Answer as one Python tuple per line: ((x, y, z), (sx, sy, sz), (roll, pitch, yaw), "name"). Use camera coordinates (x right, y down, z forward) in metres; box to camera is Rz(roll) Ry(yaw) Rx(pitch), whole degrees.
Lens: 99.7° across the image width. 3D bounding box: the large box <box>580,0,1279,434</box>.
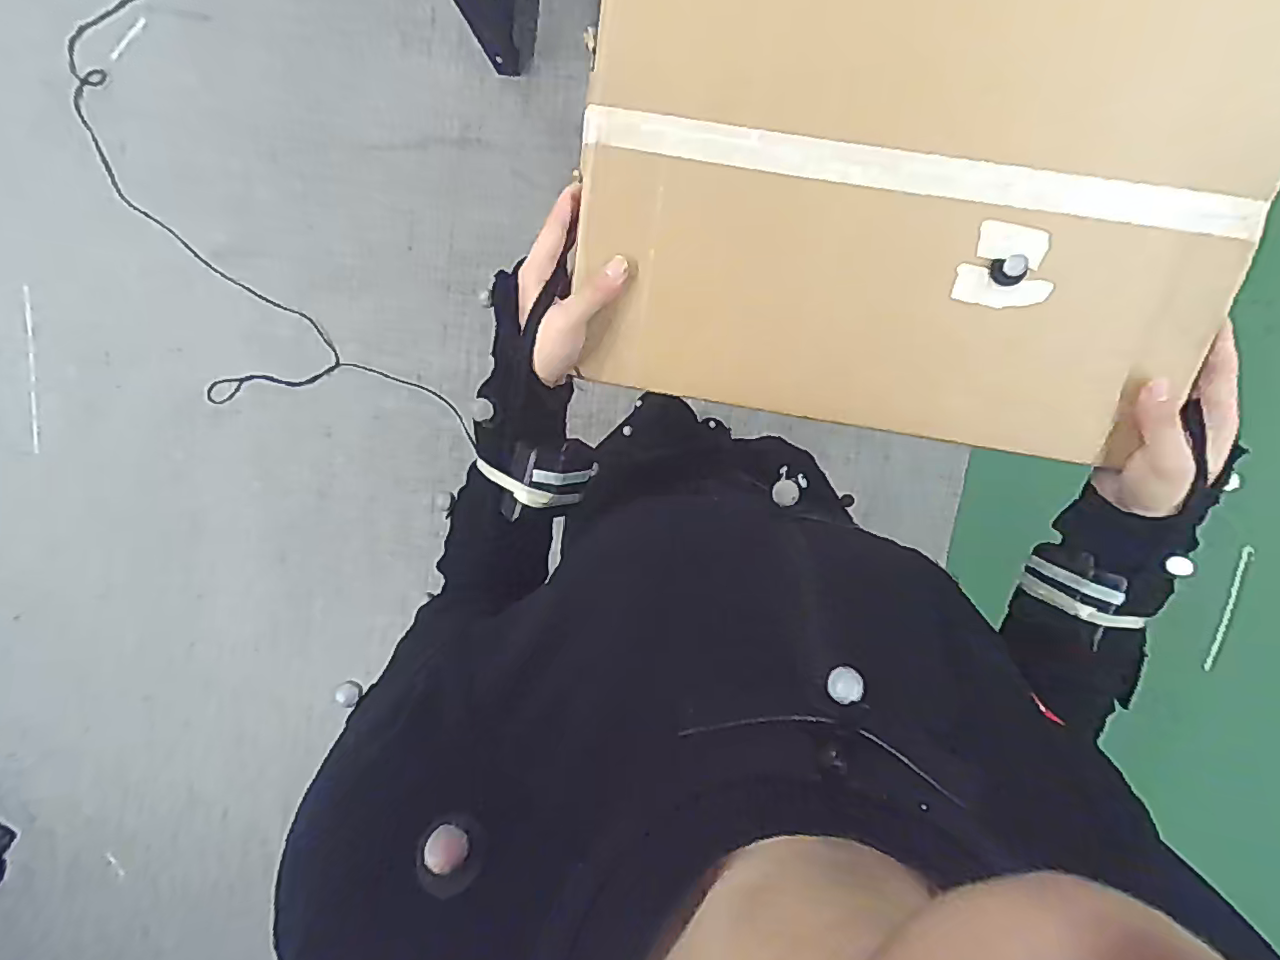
((0.179, -0.245, 0.477), (0.408, 0.320, 0.320), (9, 108, 1), "large box")
